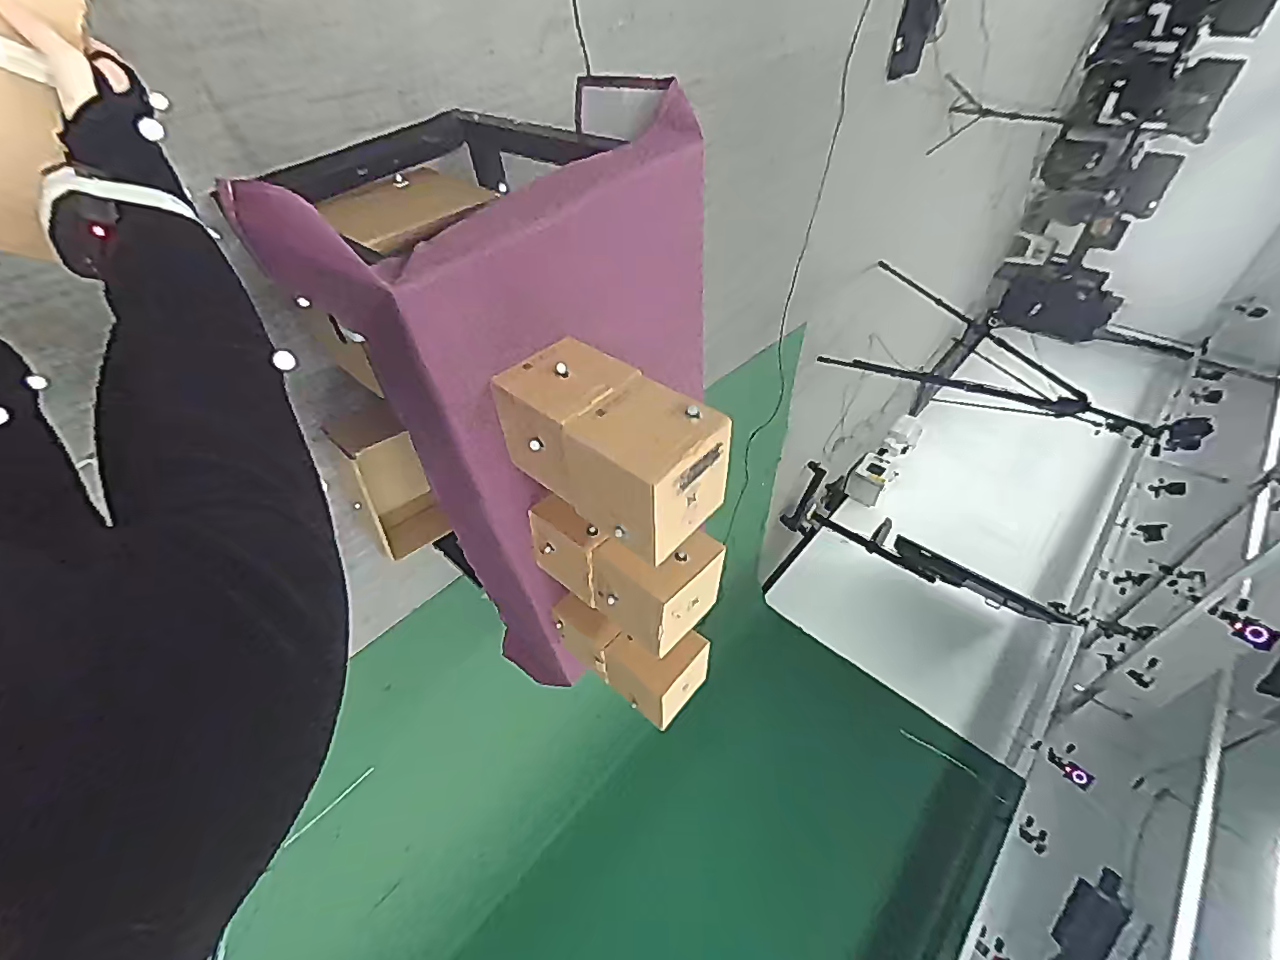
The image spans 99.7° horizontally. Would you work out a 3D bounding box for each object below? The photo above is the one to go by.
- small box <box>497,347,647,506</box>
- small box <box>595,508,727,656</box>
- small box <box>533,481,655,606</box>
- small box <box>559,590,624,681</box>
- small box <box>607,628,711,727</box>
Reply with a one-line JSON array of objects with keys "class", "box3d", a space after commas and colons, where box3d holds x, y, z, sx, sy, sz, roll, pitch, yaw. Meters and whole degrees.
[{"class": "small box", "box3d": [-0.106, -0.096, 0.873, 0.168, 0.176, 0.179, -38, 144, -30]}, {"class": "small box", "box3d": [0.035, 0.182, 1.011, 0.179, 0.176, 0.168, -34, 142, -34]}, {"class": "small box", "box3d": [-0.091, 0.109, 1.089, 0.179, 0.176, 0.168, -35, 143, -33]}, {"class": "small box", "box3d": [-0.081, 0.340, 1.311, 0.179, 0.176, 0.168, -39, 145, -30]}, {"class": "small box", "box3d": [0.041, 0.417, 1.234, 0.168, 0.176, 0.179, -39, 144, -31]}]
